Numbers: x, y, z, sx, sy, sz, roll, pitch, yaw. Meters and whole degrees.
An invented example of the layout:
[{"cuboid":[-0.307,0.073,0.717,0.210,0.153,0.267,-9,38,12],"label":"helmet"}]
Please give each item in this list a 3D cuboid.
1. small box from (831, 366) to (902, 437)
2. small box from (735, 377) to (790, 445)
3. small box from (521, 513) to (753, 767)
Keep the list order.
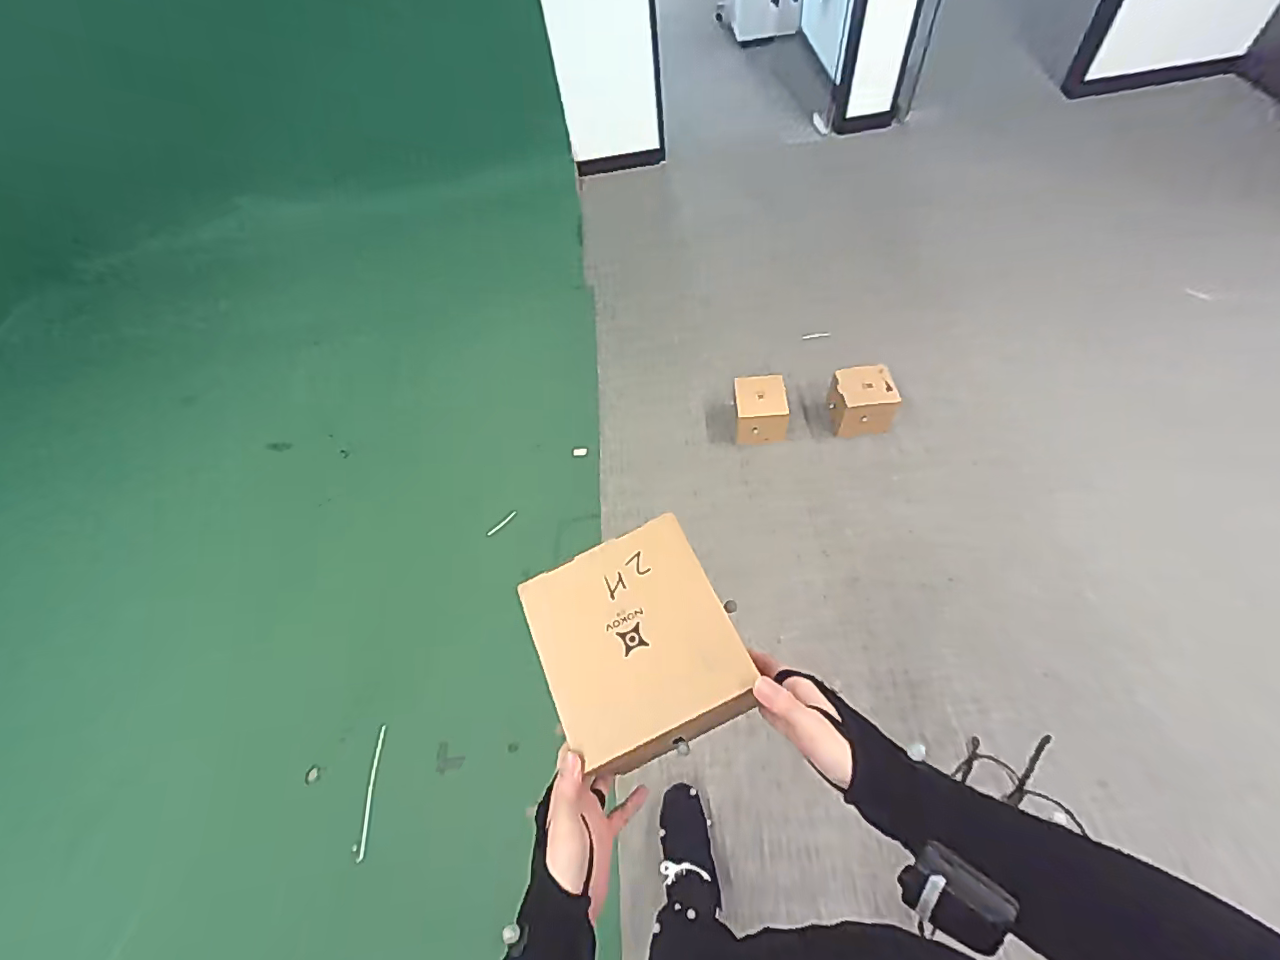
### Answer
[{"cuboid":[0.762,-0.262,1.844,0.179,0.176,0.168,-6,57,4],"label":"small box"},{"cuboid":[0.422,-0.233,1.876,0.168,0.176,0.179,-4,56,6],"label":"small box"},{"cuboid":[0.005,0.168,0.549,0.168,0.176,0.179,-25,59,-2],"label":"small box"}]
